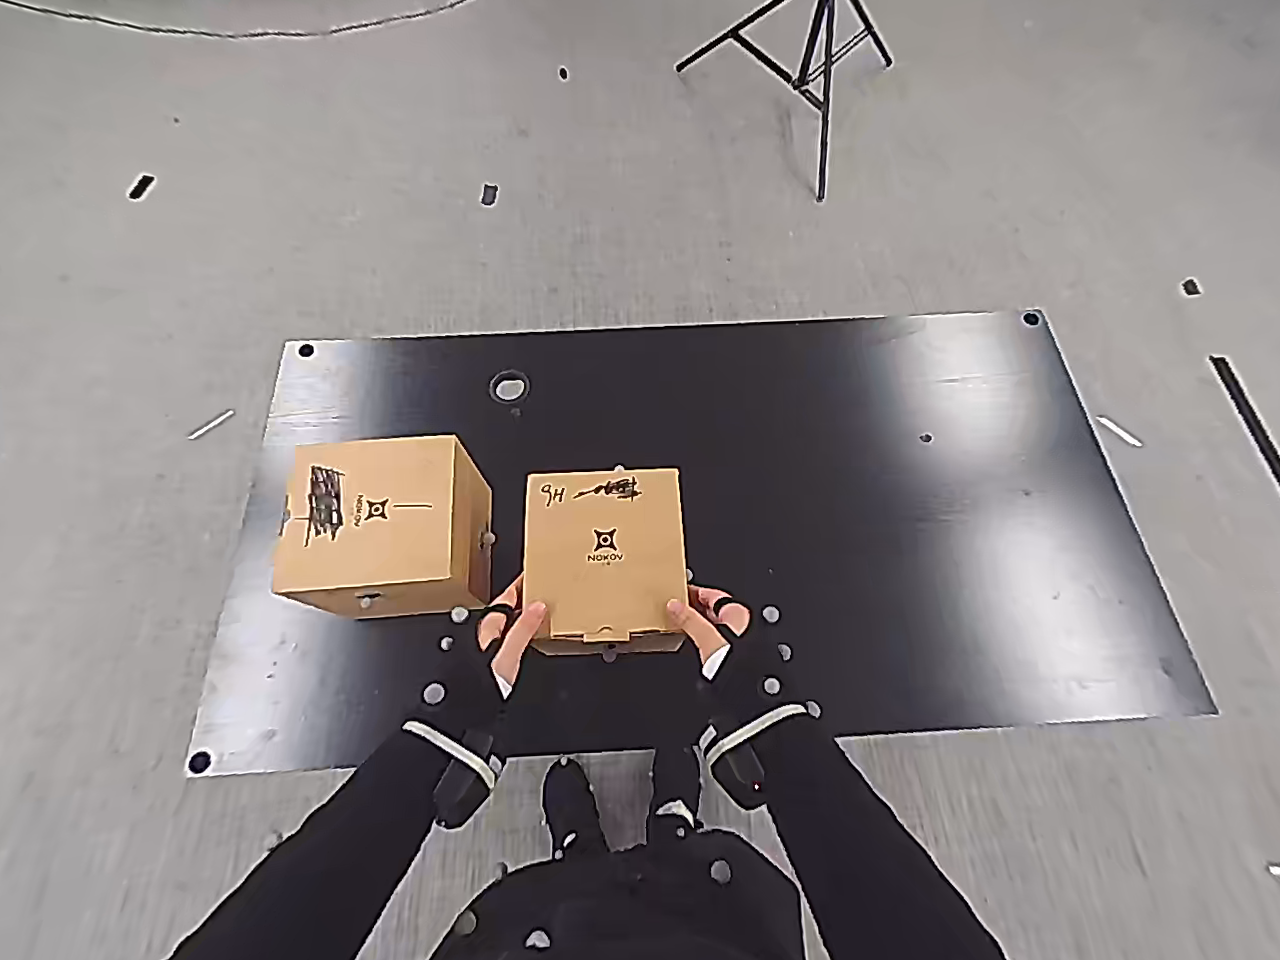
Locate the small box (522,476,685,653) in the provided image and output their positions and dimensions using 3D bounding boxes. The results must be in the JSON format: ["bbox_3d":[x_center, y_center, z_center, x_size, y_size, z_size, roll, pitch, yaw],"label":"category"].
[{"bbox_3d":[-0.037,0.108,0.637,0.168,0.176,0.179,-2,67,-1],"label":"small box"}]

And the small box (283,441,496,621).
[{"bbox_3d":[-0.282,0.069,0.652,0.179,0.176,0.168,-5,67,-3],"label":"small box"}]
